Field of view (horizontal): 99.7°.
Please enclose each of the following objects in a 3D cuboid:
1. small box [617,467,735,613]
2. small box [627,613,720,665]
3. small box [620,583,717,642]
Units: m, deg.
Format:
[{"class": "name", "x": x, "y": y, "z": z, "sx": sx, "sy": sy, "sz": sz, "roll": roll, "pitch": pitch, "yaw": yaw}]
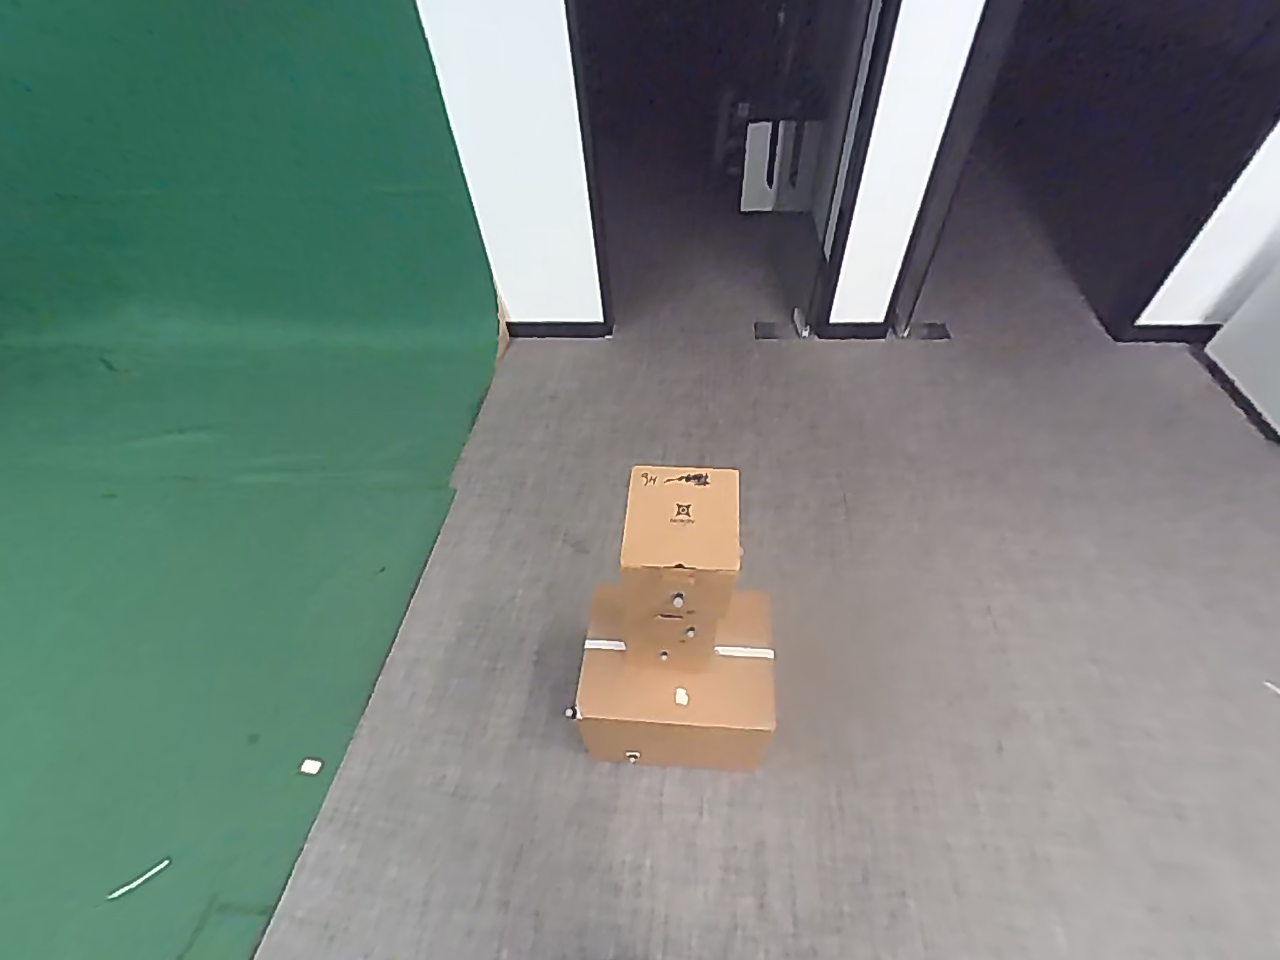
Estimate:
[{"class": "small box", "x": 0.063, "y": 0.099, "z": 0.856, "sx": 0.168, "sy": 0.176, "sz": 0.179, "roll": 2, "pitch": 56, "yaw": 6}, {"class": "small box", "x": 0.072, "y": 0.279, "z": 1.127, "sx": 0.179, "sy": 0.176, "sz": 0.168, "roll": 1, "pitch": 55, "yaw": 5}, {"class": "small box", "x": 0.061, "y": 0.186, "z": 0.995, "sx": 0.168, "sy": 0.176, "sz": 0.179, "roll": 2, "pitch": 54, "yaw": 5}]
